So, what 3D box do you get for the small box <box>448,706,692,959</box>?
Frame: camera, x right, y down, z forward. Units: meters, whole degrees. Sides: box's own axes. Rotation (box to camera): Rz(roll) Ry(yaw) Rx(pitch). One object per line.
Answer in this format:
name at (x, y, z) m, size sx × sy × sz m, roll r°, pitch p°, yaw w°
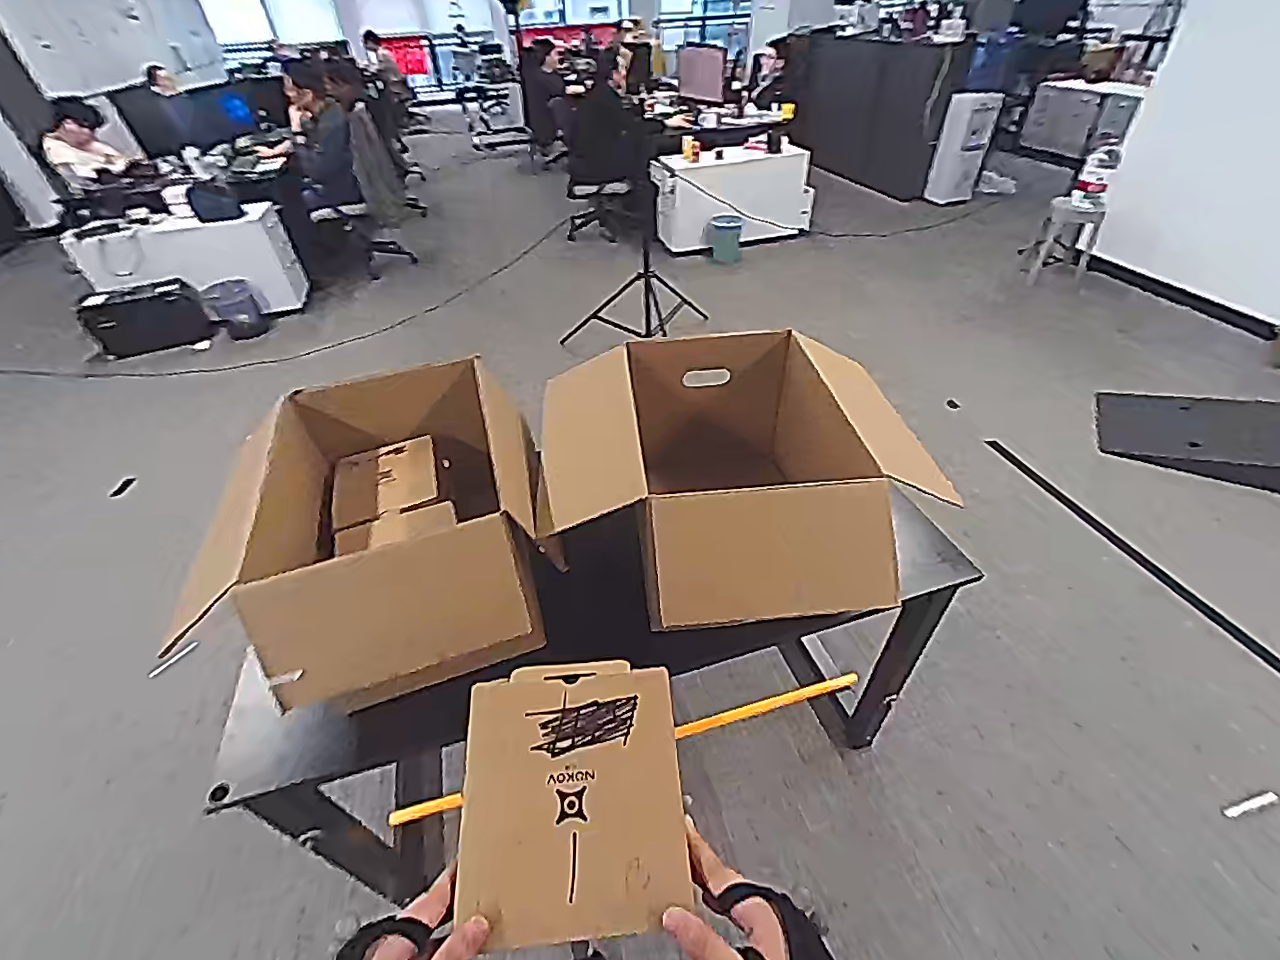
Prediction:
small box at (-0.053, 0.312, 0.465) m, size 0.168 × 0.176 × 0.179 m, roll -3°, pitch 54°, yaw -3°
